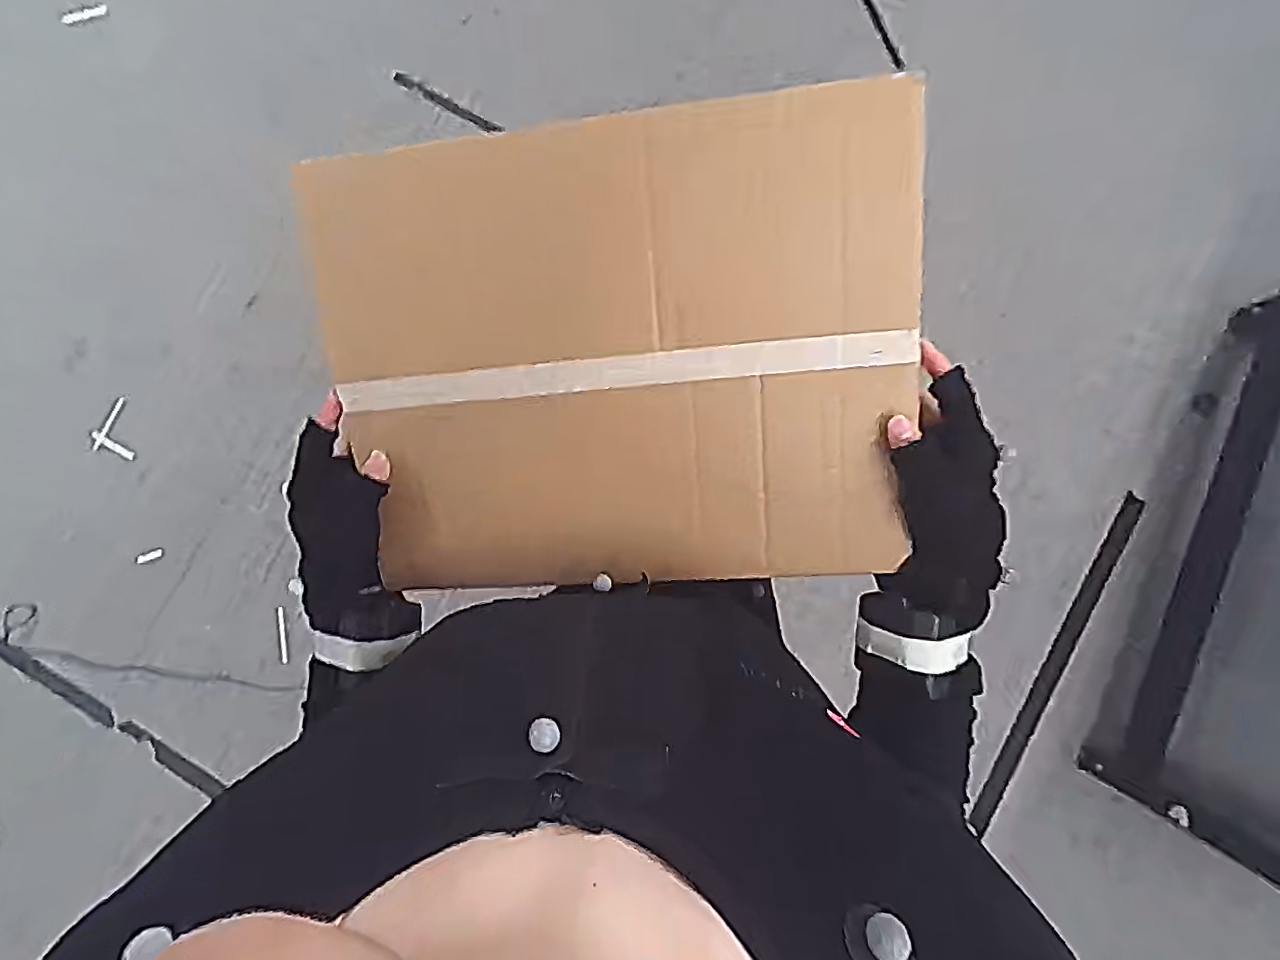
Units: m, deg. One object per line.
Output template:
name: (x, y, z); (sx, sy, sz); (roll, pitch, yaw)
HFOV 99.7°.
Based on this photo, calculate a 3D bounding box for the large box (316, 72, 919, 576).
large box: (-0.001, -0.118, 0.525); (0.408, 0.320, 0.320); (-3, 105, 7)
